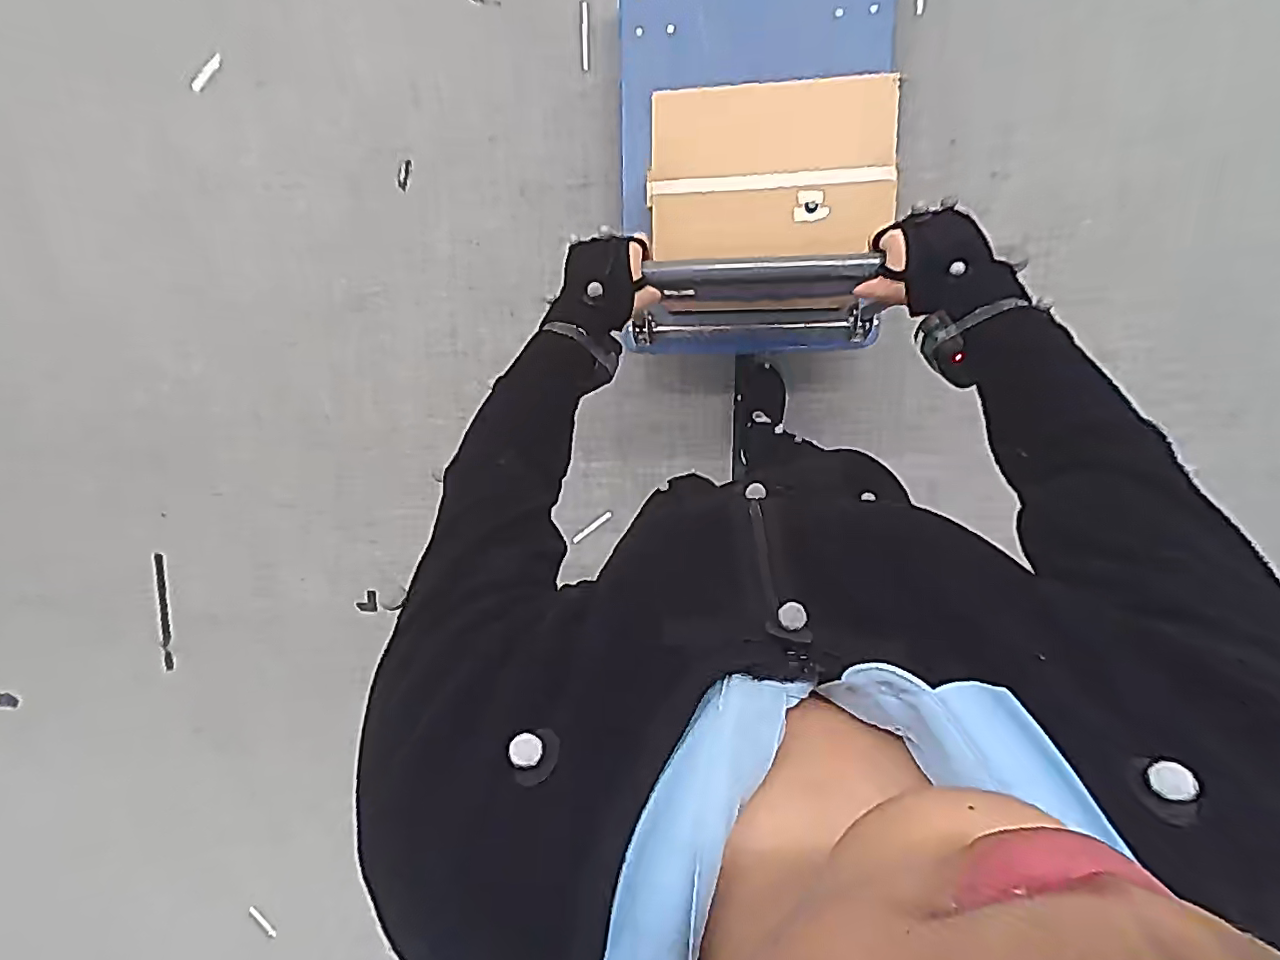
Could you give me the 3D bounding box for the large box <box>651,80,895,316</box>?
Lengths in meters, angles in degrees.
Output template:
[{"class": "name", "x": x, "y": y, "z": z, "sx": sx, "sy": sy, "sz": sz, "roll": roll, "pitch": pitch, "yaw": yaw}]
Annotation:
[{"class": "large box", "x": 0.234, "y": -0.513, "z": 1.062, "sx": 0.408, "sy": 0.320, "sz": 0.320, "roll": 0, "pitch": 98, "yaw": 6}]
